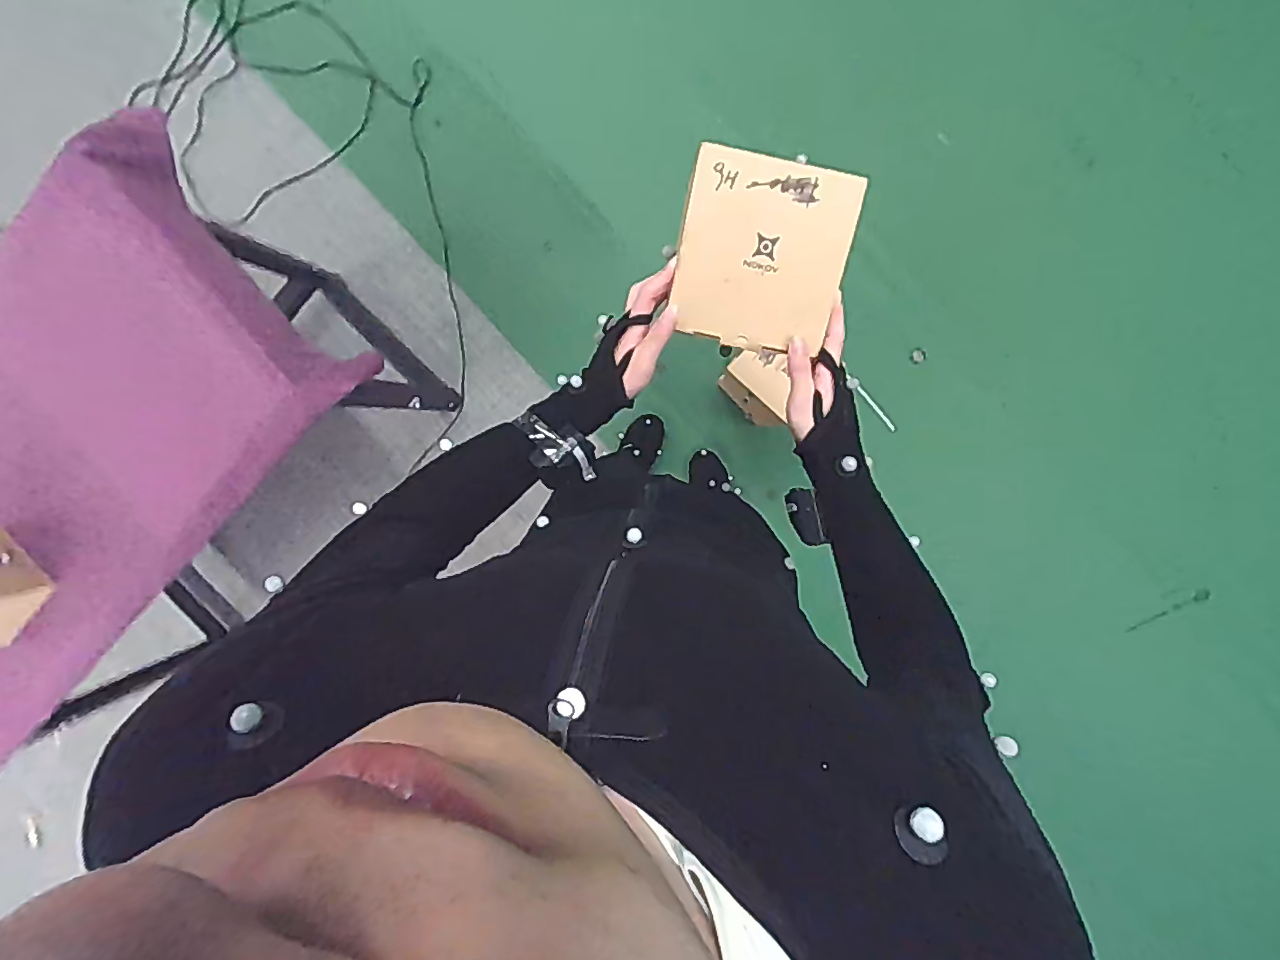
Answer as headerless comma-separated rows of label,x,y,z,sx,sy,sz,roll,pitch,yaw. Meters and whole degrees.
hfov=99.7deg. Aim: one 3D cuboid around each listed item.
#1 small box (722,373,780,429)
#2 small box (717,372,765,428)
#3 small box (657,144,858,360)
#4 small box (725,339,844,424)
small box,0.318,-0.245,1.327,0.179,0.176,0.168,45,99,2
small box,0.330,-0.262,1.488,0.168,0.176,0.179,-43,89,8
small box,0.115,-0.243,0.612,0.168,0.176,0.179,10,106,-3
small box,0.298,-0.233,1.165,0.179,0.176,0.168,43,99,1
